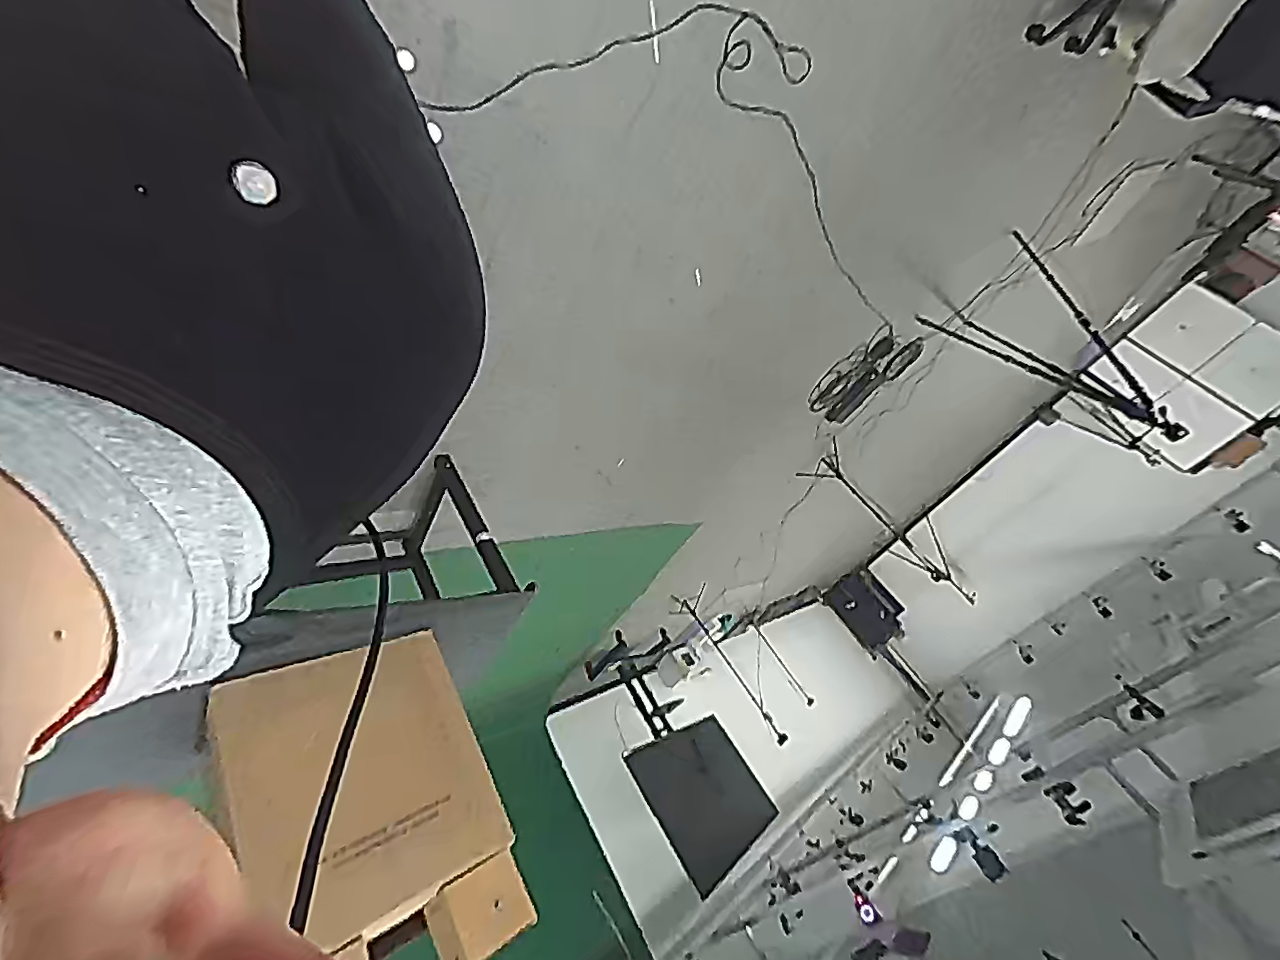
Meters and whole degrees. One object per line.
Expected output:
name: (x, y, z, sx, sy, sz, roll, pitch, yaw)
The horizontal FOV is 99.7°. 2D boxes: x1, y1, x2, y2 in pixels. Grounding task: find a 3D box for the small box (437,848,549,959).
small box: (-0.354, 1.029, 1.290, 0.179, 0.176, 0.168, -7, 139, -46)
